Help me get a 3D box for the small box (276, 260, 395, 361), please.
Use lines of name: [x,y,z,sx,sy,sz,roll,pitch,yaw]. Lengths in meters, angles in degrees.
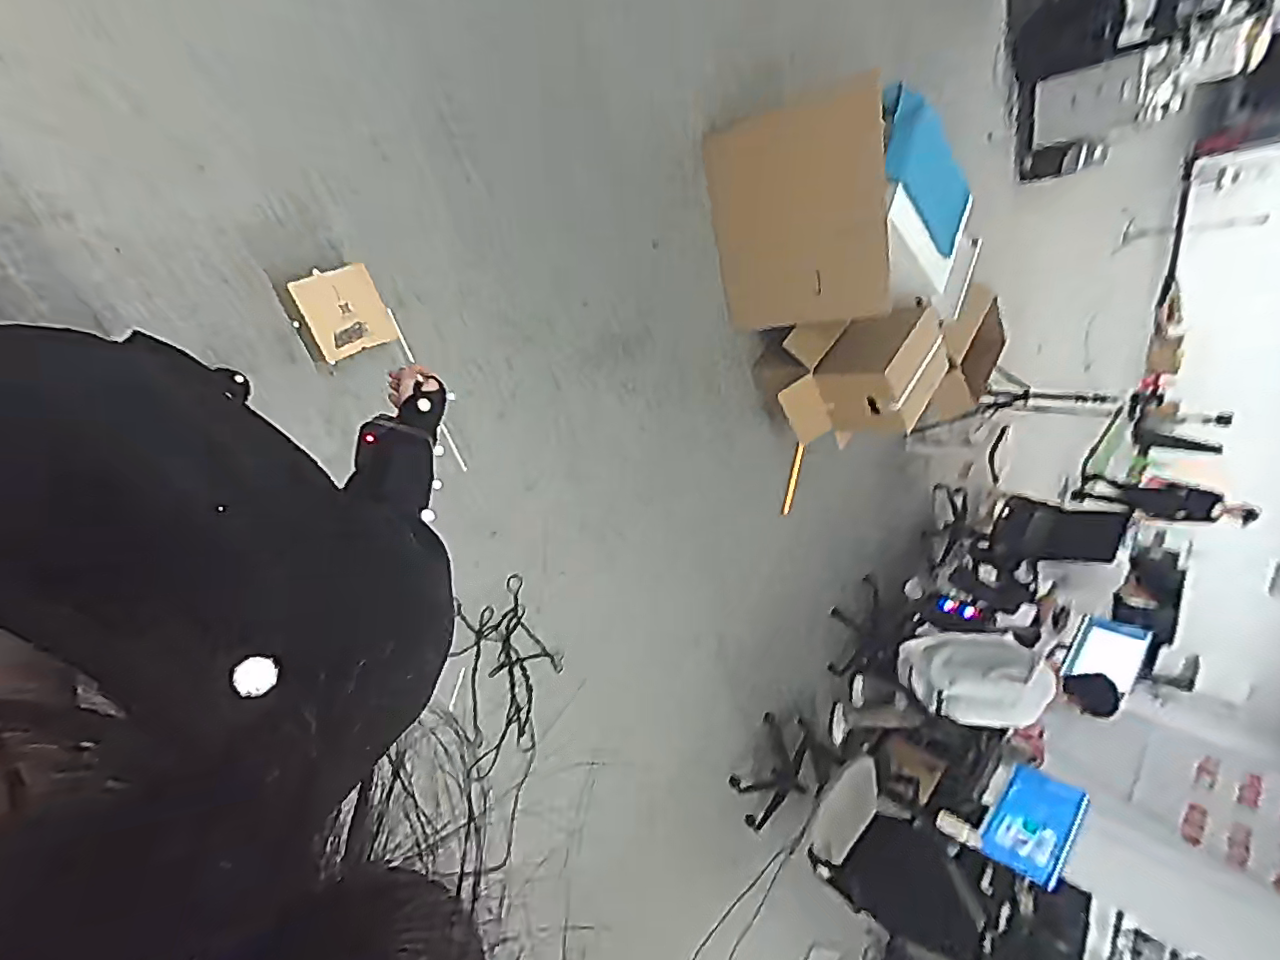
small box: [-0.697,-0.385,1.238,0.168,0.176,0.179,-33,120,-31]
